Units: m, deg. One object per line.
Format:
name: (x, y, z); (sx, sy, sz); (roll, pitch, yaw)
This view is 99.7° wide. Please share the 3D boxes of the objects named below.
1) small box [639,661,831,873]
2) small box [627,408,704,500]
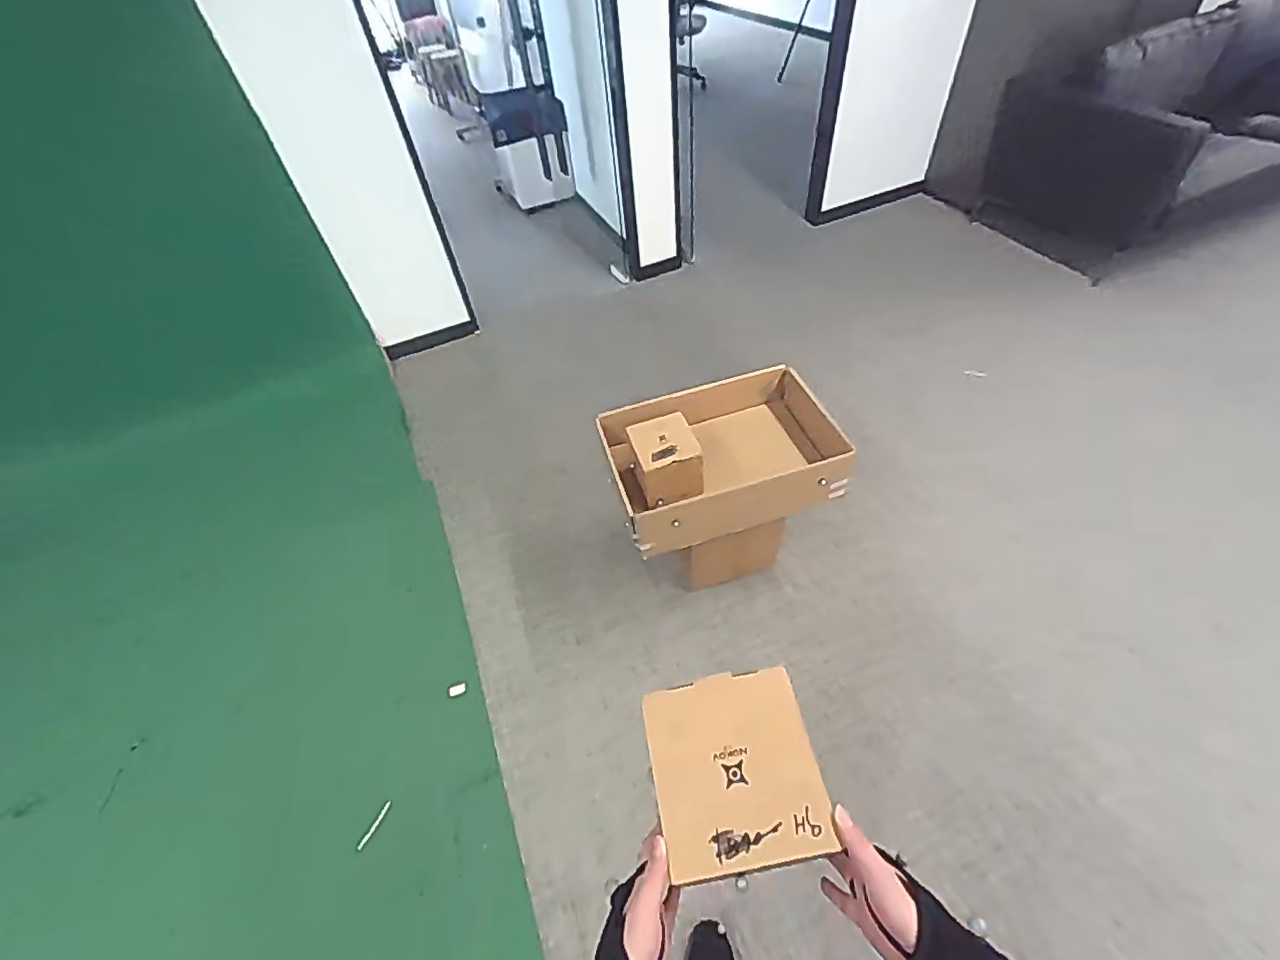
small box: (0.100, 0.334, 0.623); (0.168, 0.176, 0.179); (-13, 54, 2)
small box: (0.075, -0.064, 1.501); (0.168, 0.176, 0.179); (-17, 50, -7)
